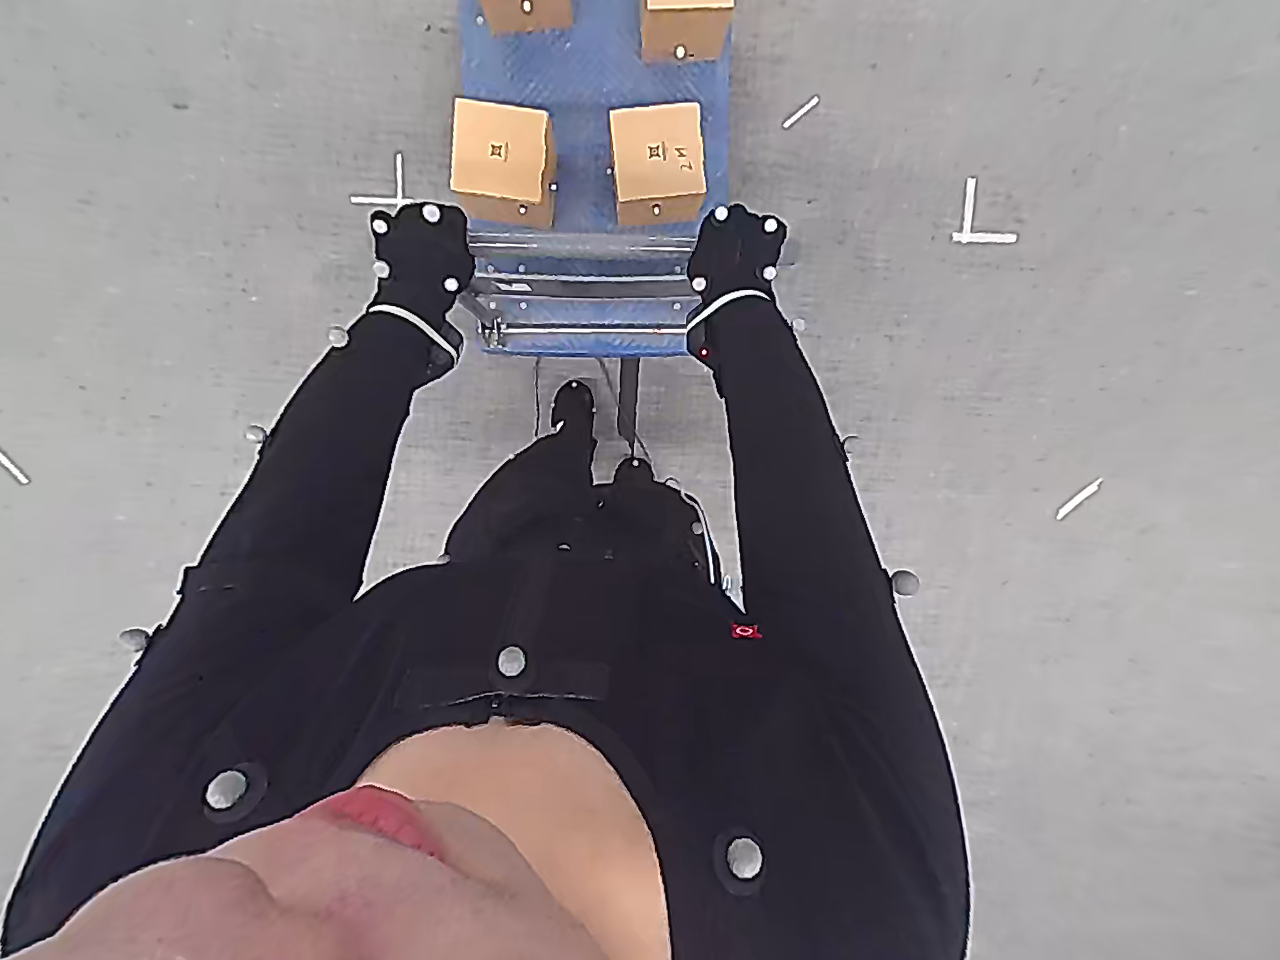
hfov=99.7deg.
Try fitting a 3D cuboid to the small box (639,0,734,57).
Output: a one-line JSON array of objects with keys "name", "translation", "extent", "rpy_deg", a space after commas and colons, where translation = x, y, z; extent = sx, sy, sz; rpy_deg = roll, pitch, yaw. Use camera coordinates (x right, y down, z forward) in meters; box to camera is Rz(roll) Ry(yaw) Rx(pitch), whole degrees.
[{"name": "small box", "translation": [0.085, -0.976, 1.059], "extent": [0.168, 0.176, 0.179], "rpy_deg": [-3, 100, -2]}]

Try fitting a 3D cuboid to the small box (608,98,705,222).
[{"name": "small box", "translation": [0.032, -0.645, 1.110], "extent": [0.179, 0.176, 0.168], "rpy_deg": [-6, 99, -1]}]

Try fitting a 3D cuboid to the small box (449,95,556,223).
[{"name": "small box", "translation": [-0.273, -0.640, 1.100], "extent": [0.179, 0.176, 0.168], "rpy_deg": [5, 99, -5]}]
